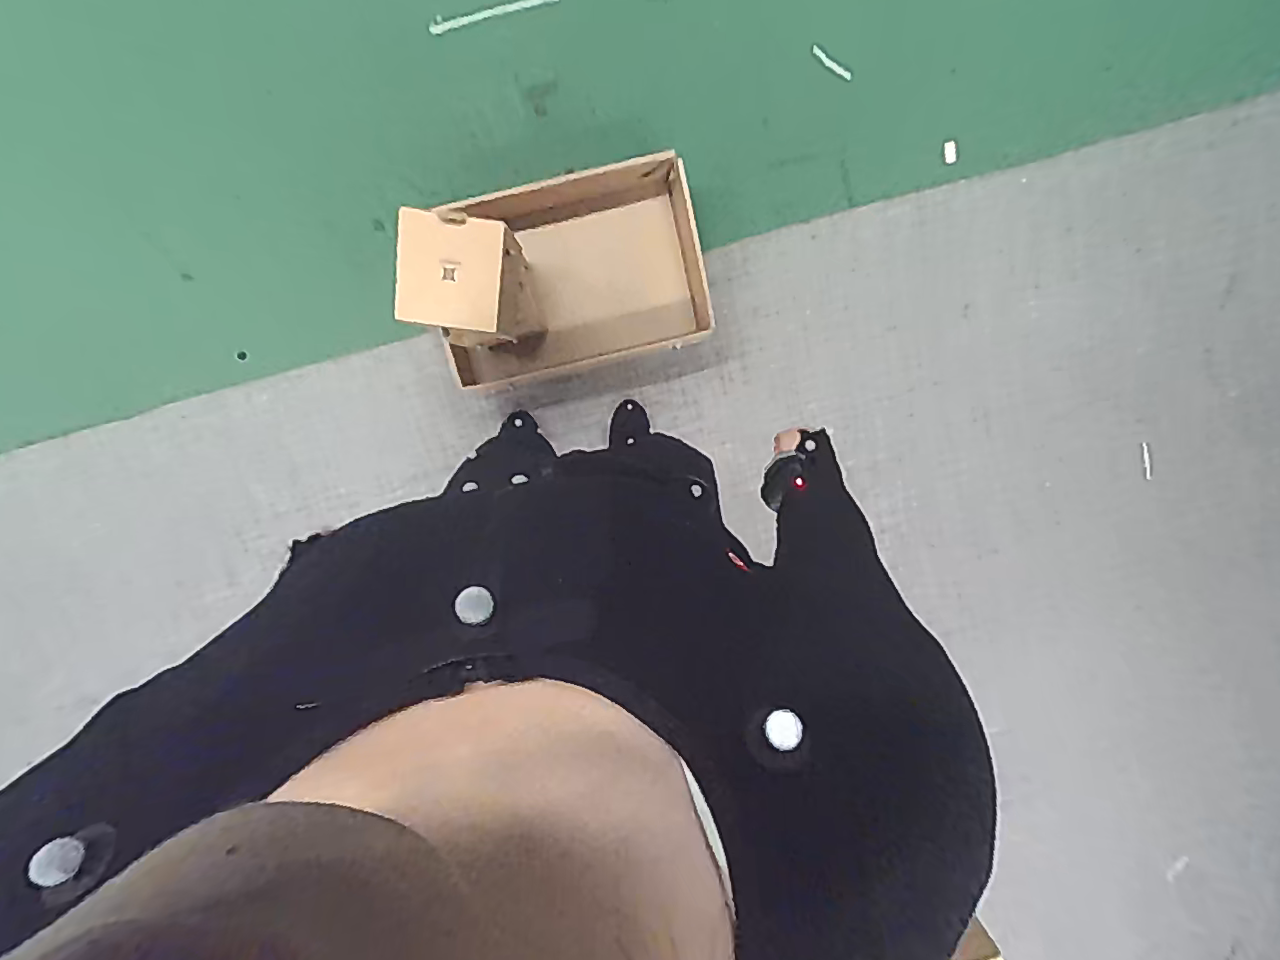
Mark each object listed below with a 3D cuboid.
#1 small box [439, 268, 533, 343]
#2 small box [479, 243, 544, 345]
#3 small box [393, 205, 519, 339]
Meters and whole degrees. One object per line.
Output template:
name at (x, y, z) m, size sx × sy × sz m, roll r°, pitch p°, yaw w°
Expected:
small box at (-0.324, -0.381, 1.093) m, size 0.168 × 0.176 × 0.179 m, roll -15°, pitch 100°, yaw -2°
small box at (-0.331, -0.422, 1.252) m, size 0.168 × 0.176 × 0.179 m, roll -16°, pitch 101°, yaw 0°
small box at (-0.309, -0.346, 0.935) m, size 0.168 × 0.176 × 0.179 m, roll 7°, pitch 99°, yaw -5°
